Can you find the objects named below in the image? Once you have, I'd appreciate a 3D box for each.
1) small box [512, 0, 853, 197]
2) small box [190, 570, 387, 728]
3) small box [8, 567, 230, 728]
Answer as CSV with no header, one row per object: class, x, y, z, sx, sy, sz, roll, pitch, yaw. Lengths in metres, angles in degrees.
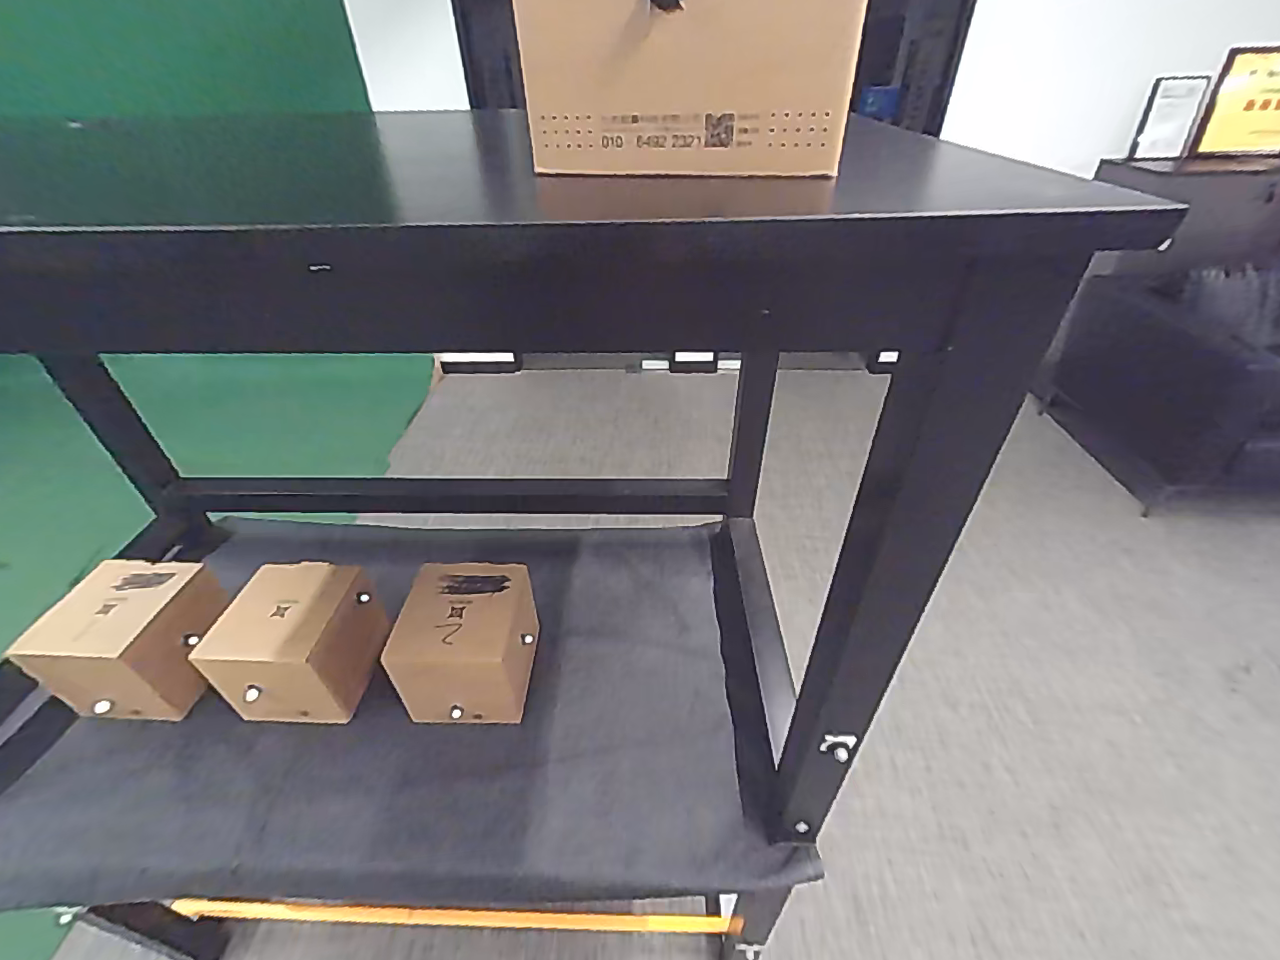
small box,0.033,-0.272,0.313,0.168,0.176,0.179,7,38,10
small box,-0.520,0.261,0.837,0.168,0.176,0.179,1,37,2
small box,-0.773,0.257,0.843,0.168,0.176,0.179,1,38,2
